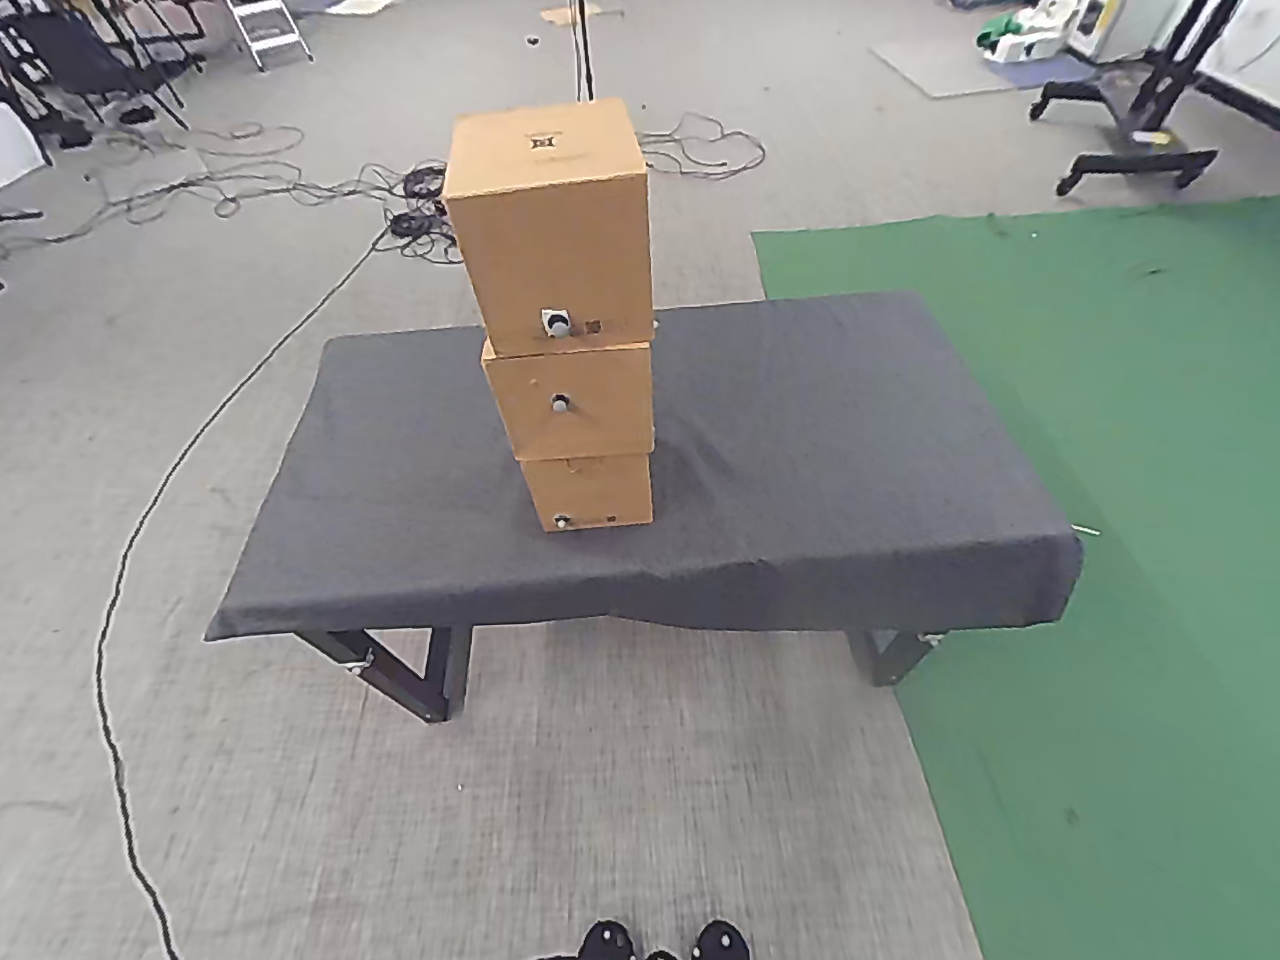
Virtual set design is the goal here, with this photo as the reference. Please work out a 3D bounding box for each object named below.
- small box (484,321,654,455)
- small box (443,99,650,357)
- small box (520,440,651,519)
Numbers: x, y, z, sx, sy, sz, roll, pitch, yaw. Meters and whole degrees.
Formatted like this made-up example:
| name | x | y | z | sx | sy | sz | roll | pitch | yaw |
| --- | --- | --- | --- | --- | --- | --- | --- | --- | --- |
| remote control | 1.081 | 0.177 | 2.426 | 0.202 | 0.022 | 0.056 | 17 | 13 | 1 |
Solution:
| name | x | y | z | sx | sy | sz | roll | pitch | yaw |
| --- | --- | --- | --- | --- | --- | --- | --- | --- | --- |
| small box | -0.080 | -0.147 | 0.677 | 0.179 | 0.176 | 0.168 | -7 | 50 | -2 |
| small box | -0.085 | -0.252 | 0.549 | 0.168 | 0.176 | 0.179 | -10 | 53 | -2 |
| small box | -0.074 | -0.053 | 0.807 | 0.168 | 0.176 | 0.179 | -5 | 51 | 0 |
